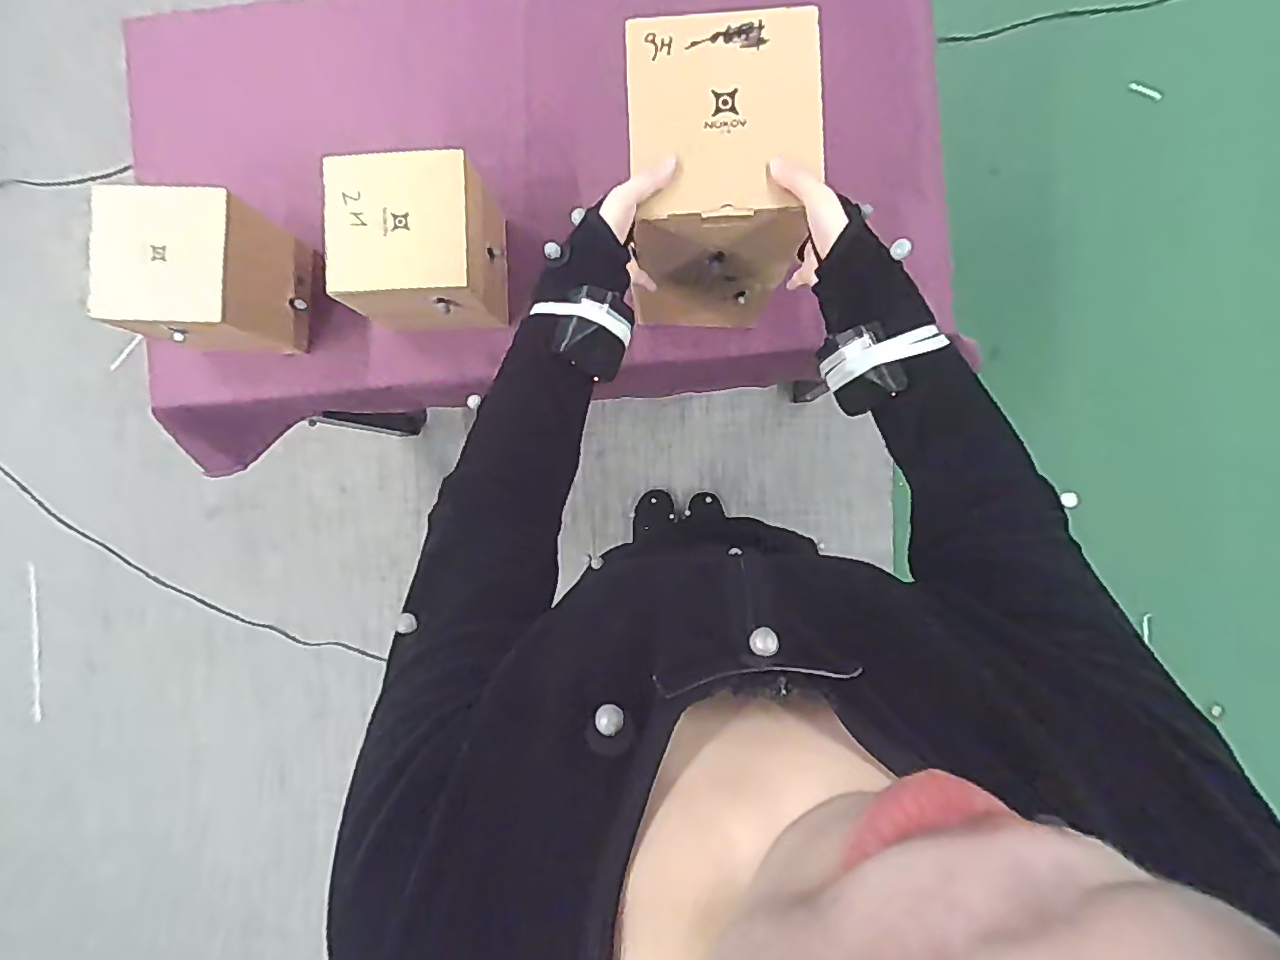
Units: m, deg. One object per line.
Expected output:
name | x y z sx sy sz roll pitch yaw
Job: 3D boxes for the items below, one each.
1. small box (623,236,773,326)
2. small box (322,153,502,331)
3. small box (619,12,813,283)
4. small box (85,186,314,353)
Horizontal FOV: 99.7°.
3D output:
small box | 0.075 -0.306 0.706 0.179 0.176 0.168 2 89 3
small box | -0.290 -0.305 0.724 0.179 0.176 0.168 -1 89 3
small box | 0.070 -0.309 0.542 0.168 0.176 0.179 -2 90 2
small box | -0.589 -0.275 0.741 0.179 0.176 0.168 3 90 3
